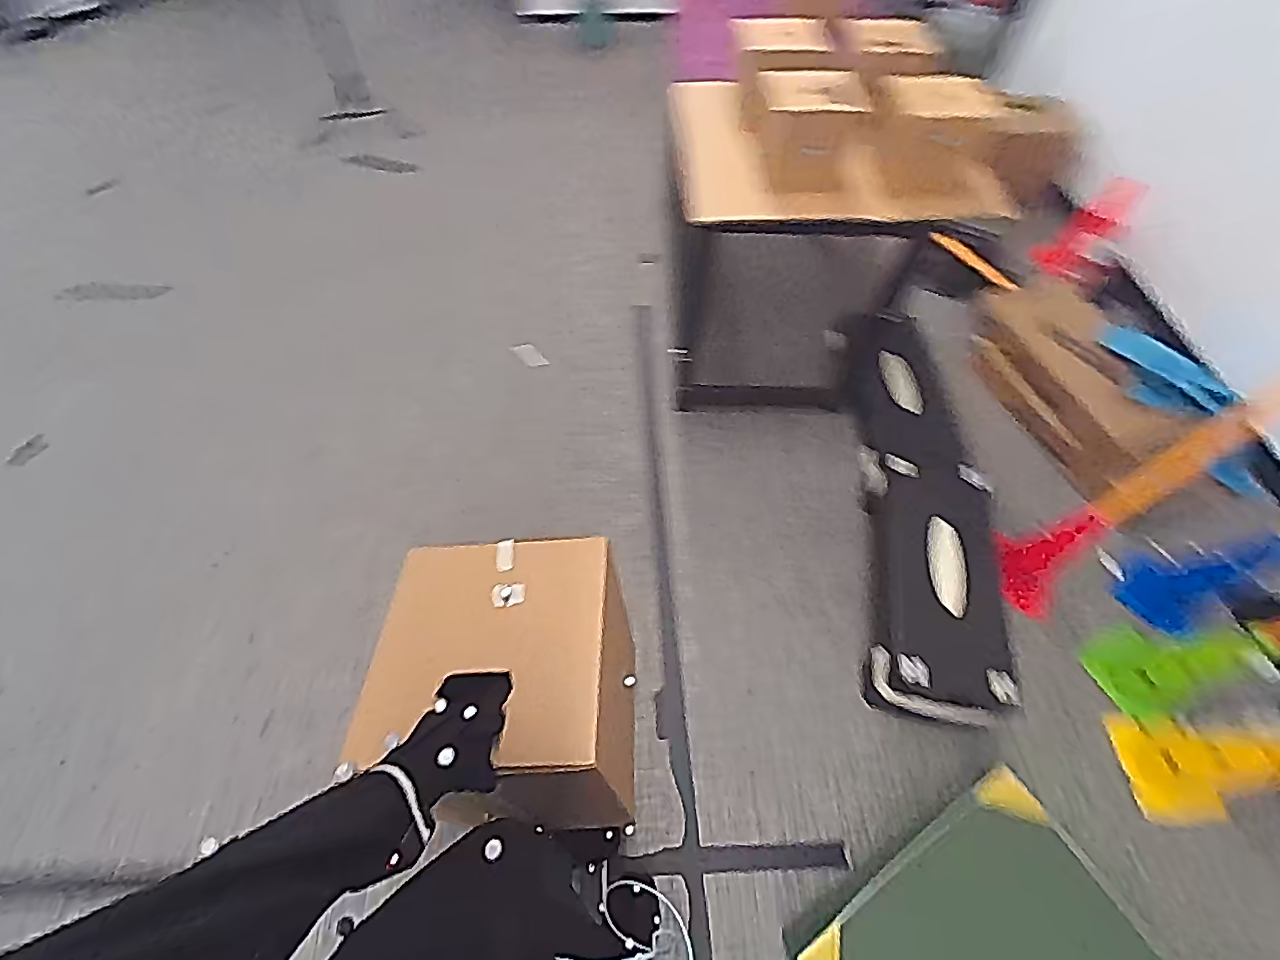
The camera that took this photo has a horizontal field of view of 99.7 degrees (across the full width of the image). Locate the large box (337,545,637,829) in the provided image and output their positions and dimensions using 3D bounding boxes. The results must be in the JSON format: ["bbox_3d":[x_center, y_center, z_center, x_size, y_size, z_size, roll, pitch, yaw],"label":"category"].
[{"bbox_3d":[-0.188,0.346,0.868,0.320,0.408,0.320,-5,51,6],"label":"large box"}]
